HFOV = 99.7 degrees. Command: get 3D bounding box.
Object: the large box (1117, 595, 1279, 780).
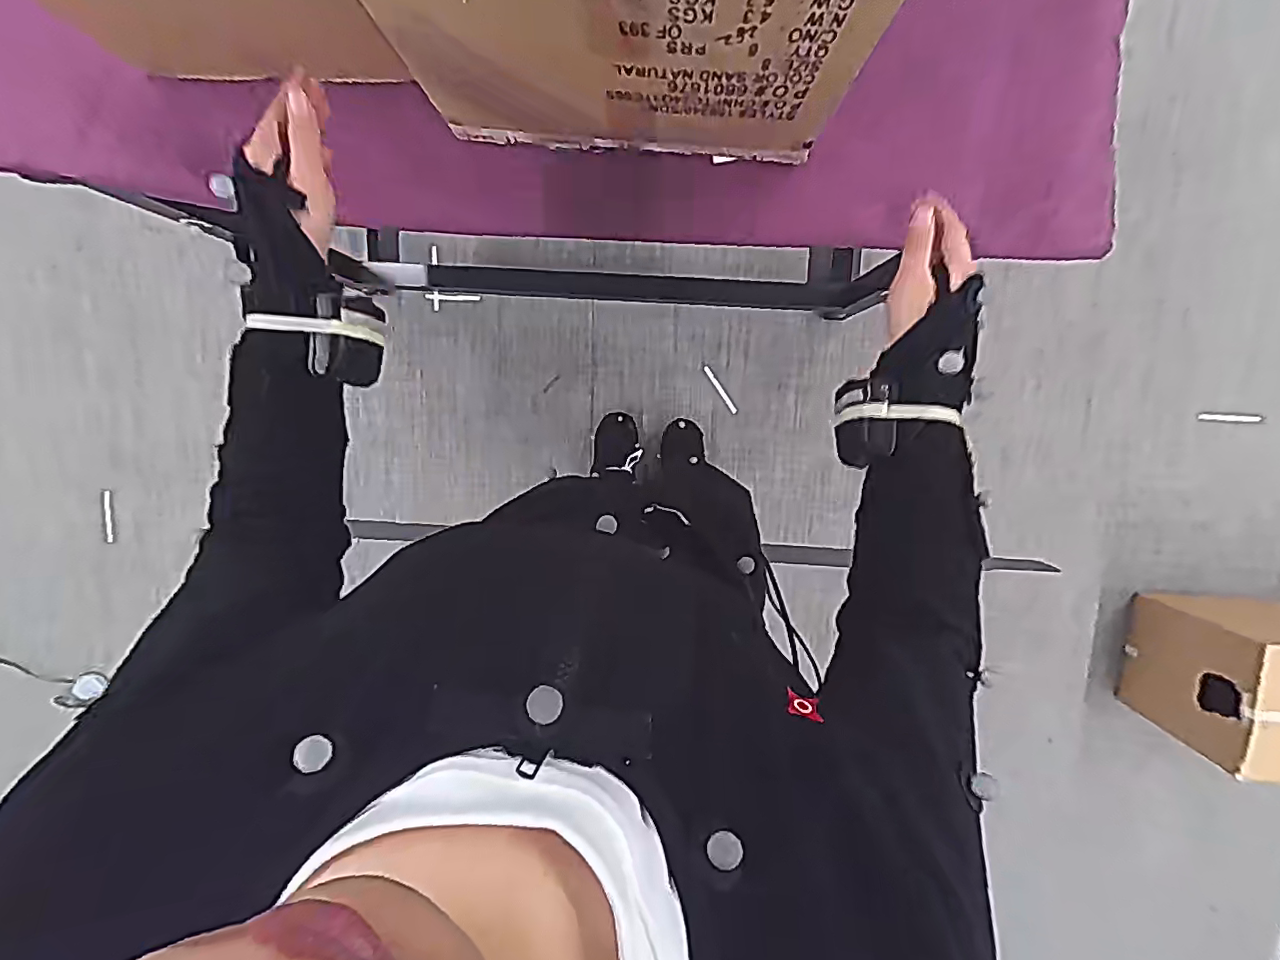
[{"bbox_3d":[1.480,0.472,1.280,0.408,0.320,0.320,1,98,2],"label":"large box"}]
